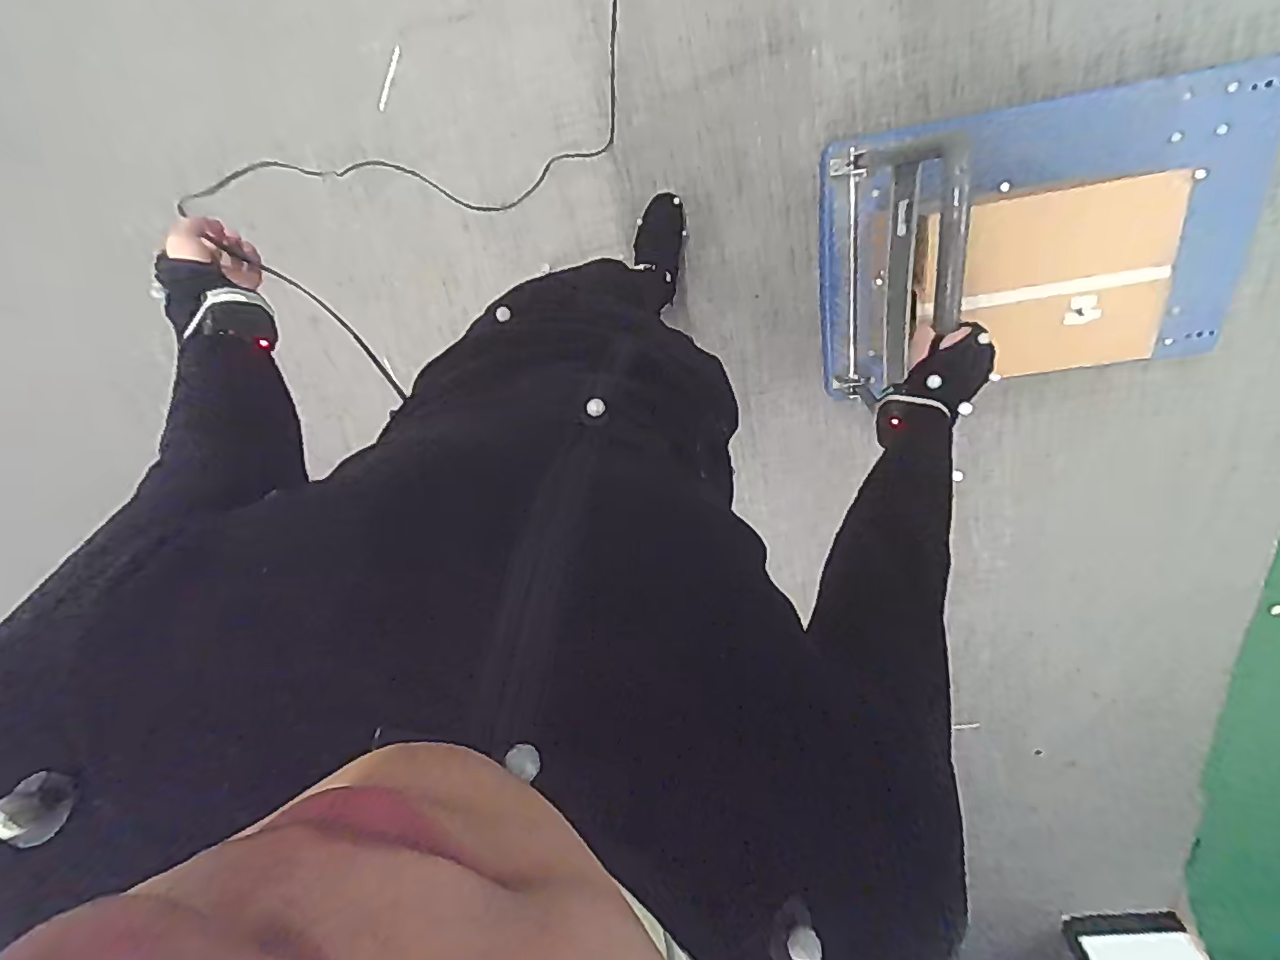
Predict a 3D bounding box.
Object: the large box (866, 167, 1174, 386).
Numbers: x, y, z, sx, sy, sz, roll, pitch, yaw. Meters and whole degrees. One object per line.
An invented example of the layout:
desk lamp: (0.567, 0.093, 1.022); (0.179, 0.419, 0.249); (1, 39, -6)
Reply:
large box: (0.711, -0.410, 1.100); (0.408, 0.320, 0.320); (-7, 116, 8)
